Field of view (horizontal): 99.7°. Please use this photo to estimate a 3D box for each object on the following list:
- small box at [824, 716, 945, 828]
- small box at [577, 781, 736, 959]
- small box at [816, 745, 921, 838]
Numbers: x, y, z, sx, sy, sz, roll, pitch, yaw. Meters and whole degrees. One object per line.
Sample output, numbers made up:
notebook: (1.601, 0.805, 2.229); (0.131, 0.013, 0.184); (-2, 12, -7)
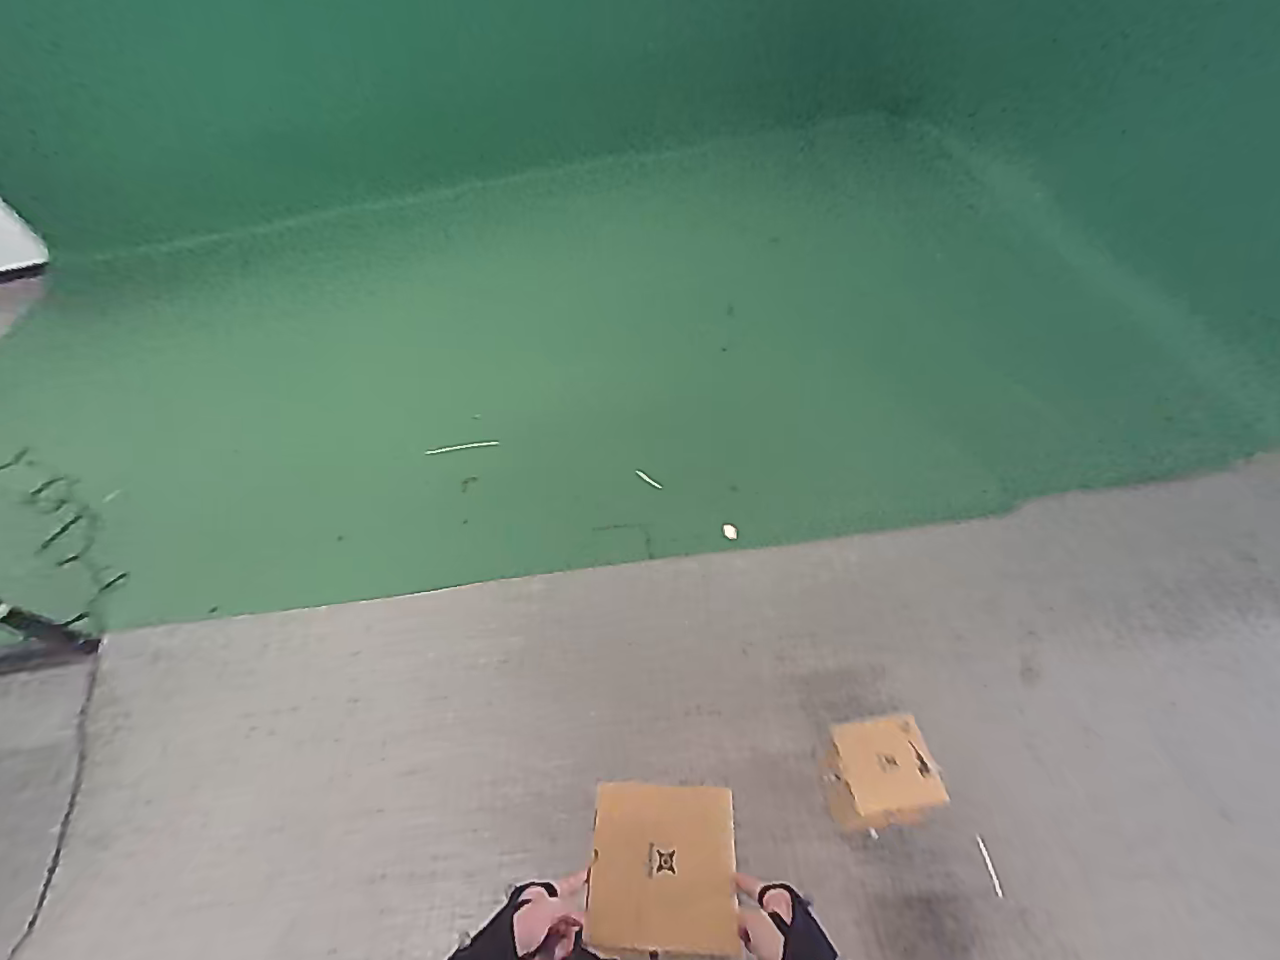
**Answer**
small box: (0.498, 0.618, 1.138); (0.179, 0.176, 0.168); (-11, 51, 2)
small box: (0.026, 0.506, 0.699); (0.179, 0.176, 0.168); (-2, 45, 5)
small box: (0.520, 0.721, 1.264); (0.168, 0.176, 0.179); (-9, 52, 4)
